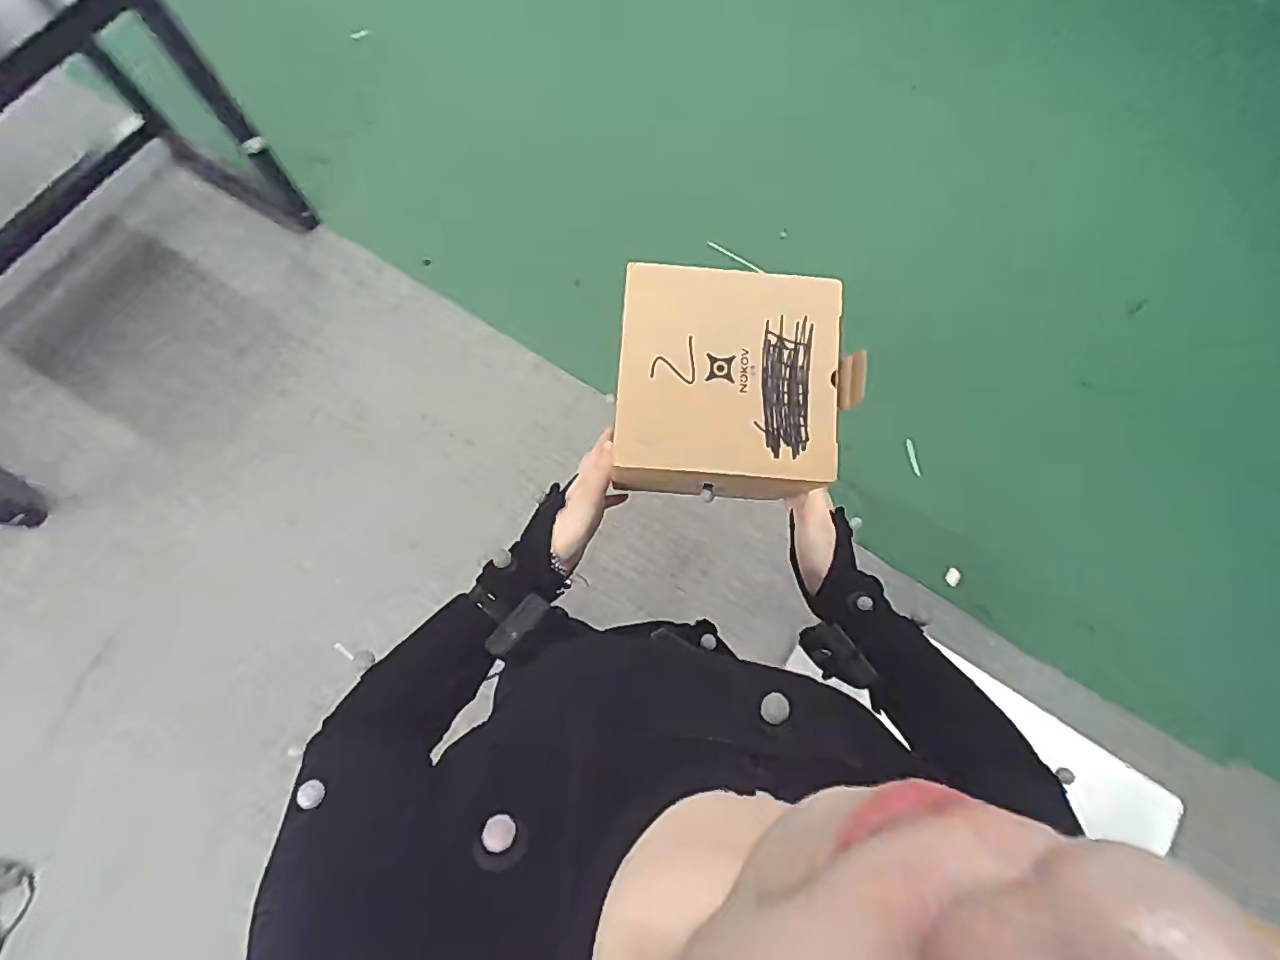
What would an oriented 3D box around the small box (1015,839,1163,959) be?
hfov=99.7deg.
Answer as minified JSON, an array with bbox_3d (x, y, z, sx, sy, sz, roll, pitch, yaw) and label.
[{"bbox_3d":[0.693,0.667,0.775,0.168,0.176,0.179,40,76,7],"label":"small box"}]

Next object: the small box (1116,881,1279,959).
[{"bbox_3d":[0.704,0.620,0.619,0.168,0.176,0.179,40,77,6],"label":"small box"}]
